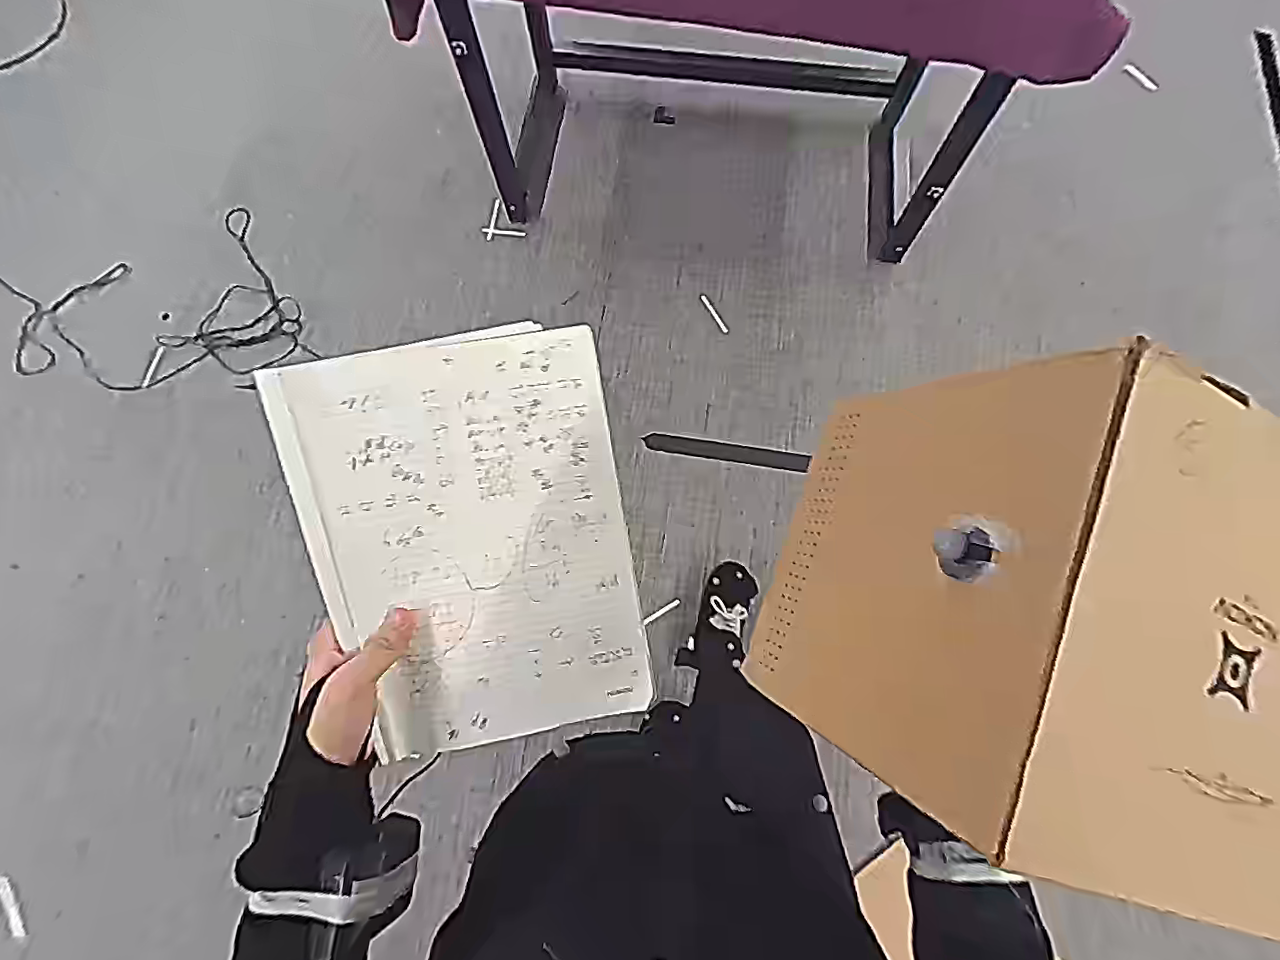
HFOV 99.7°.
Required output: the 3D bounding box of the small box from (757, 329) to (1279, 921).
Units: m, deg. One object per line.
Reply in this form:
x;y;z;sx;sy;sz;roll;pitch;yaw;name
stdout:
0.182;0.058;0.266;0.168;0.176;0.179;21;84;-15;small box
